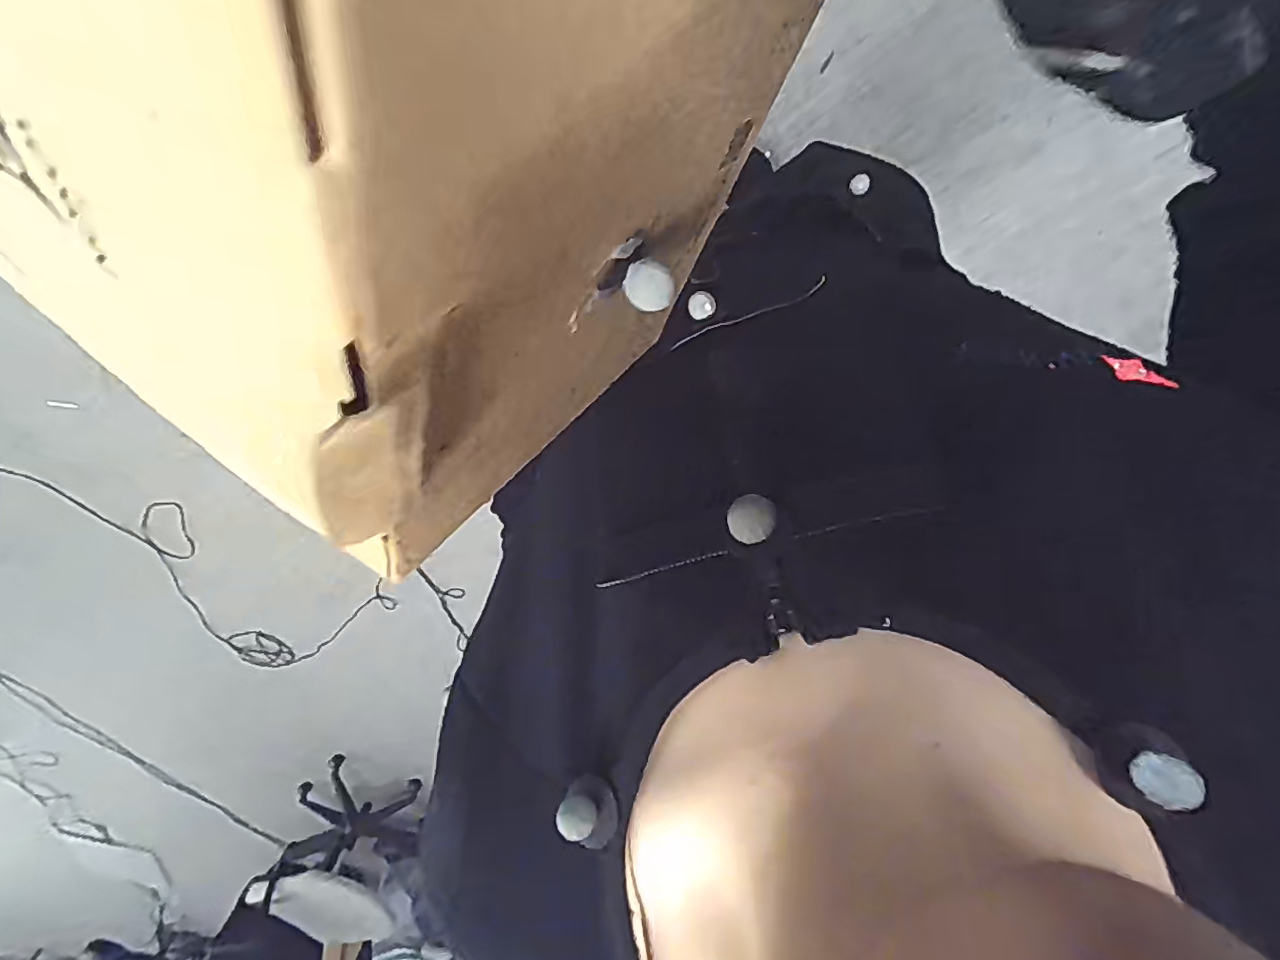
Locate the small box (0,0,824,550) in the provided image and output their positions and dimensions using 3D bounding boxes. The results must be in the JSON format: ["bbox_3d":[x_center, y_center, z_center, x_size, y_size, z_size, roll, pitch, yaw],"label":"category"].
[{"bbox_3d":[-0.071,-0.117,0.162,0.179,0.176,0.168,38,142,2],"label":"small box"}]
